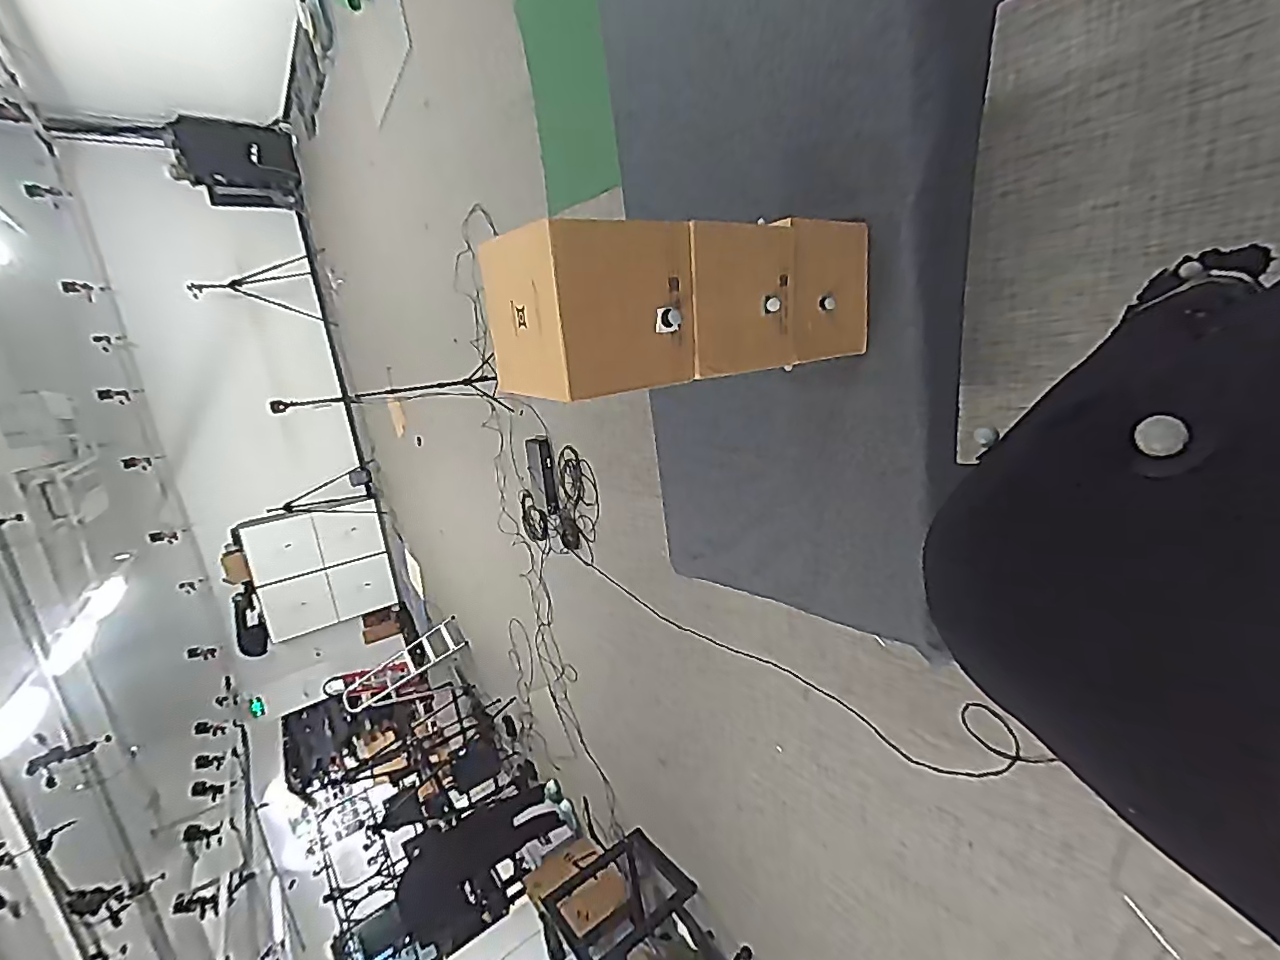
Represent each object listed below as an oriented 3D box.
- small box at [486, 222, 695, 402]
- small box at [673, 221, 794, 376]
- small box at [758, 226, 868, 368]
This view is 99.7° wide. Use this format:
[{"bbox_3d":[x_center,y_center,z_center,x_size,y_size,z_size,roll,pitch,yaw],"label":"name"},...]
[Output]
[{"bbox_3d":[-0.055,-0.189,0.619,0.179,0.176,0.168,17,118,52],"label":"small box"},{"bbox_3d":[0.077,-0.227,0.705,0.179,0.176,0.168,15,115,55],"label":"small box"},{"bbox_3d":[0.213,-0.263,0.790,0.168,0.176,0.179,14,115,53],"label":"small box"}]
